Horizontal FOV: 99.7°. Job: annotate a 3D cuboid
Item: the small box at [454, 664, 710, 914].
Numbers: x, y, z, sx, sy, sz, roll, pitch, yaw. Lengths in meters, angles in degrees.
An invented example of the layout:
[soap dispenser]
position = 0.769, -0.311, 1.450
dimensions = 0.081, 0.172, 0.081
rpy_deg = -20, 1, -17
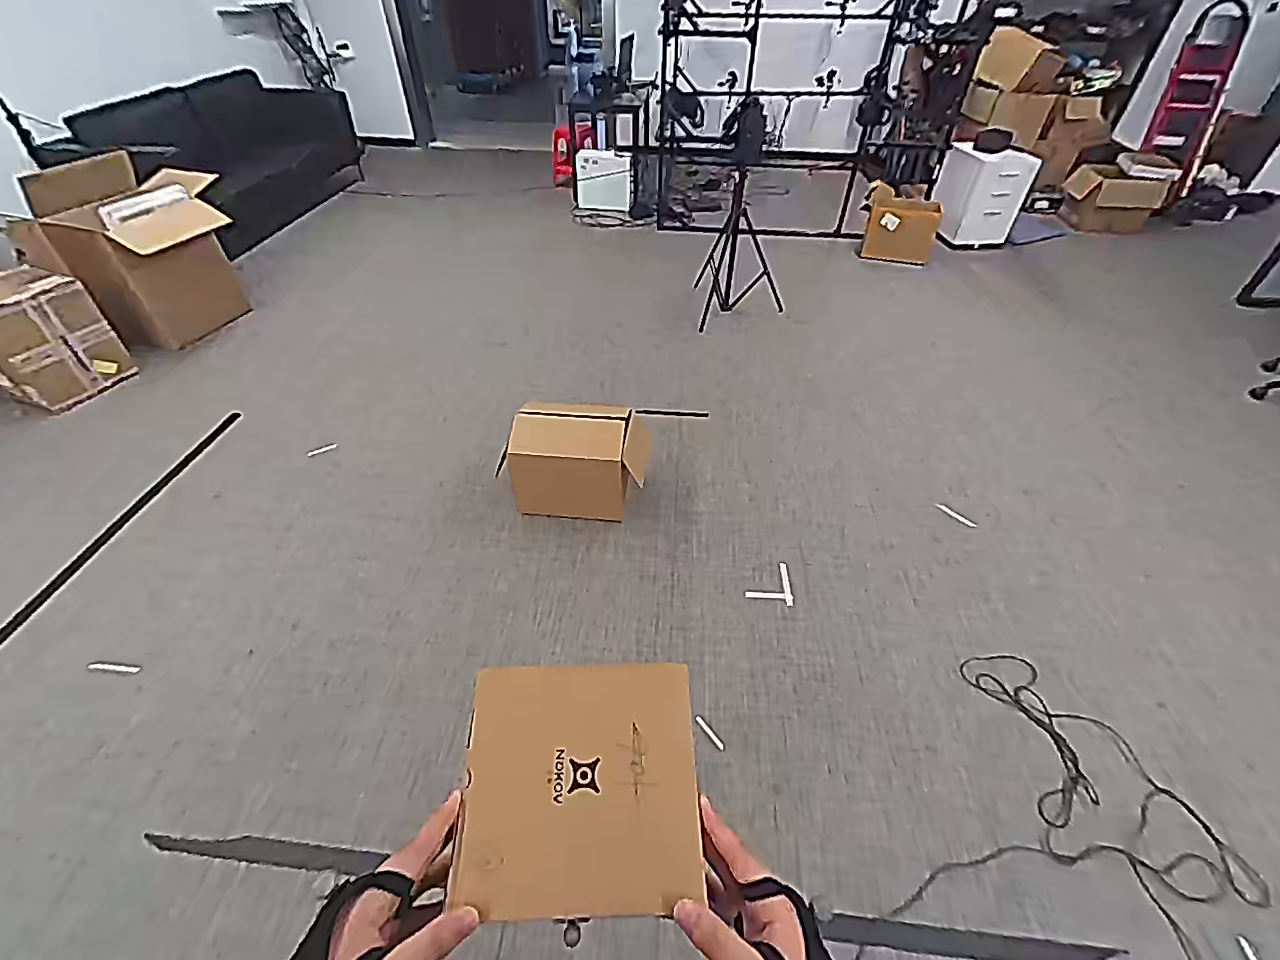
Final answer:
[small box]
position = -0.041, 0.272, 0.473
dimensions = 0.179, 0.176, 0.168
rpy_deg = -1, 52, -2
